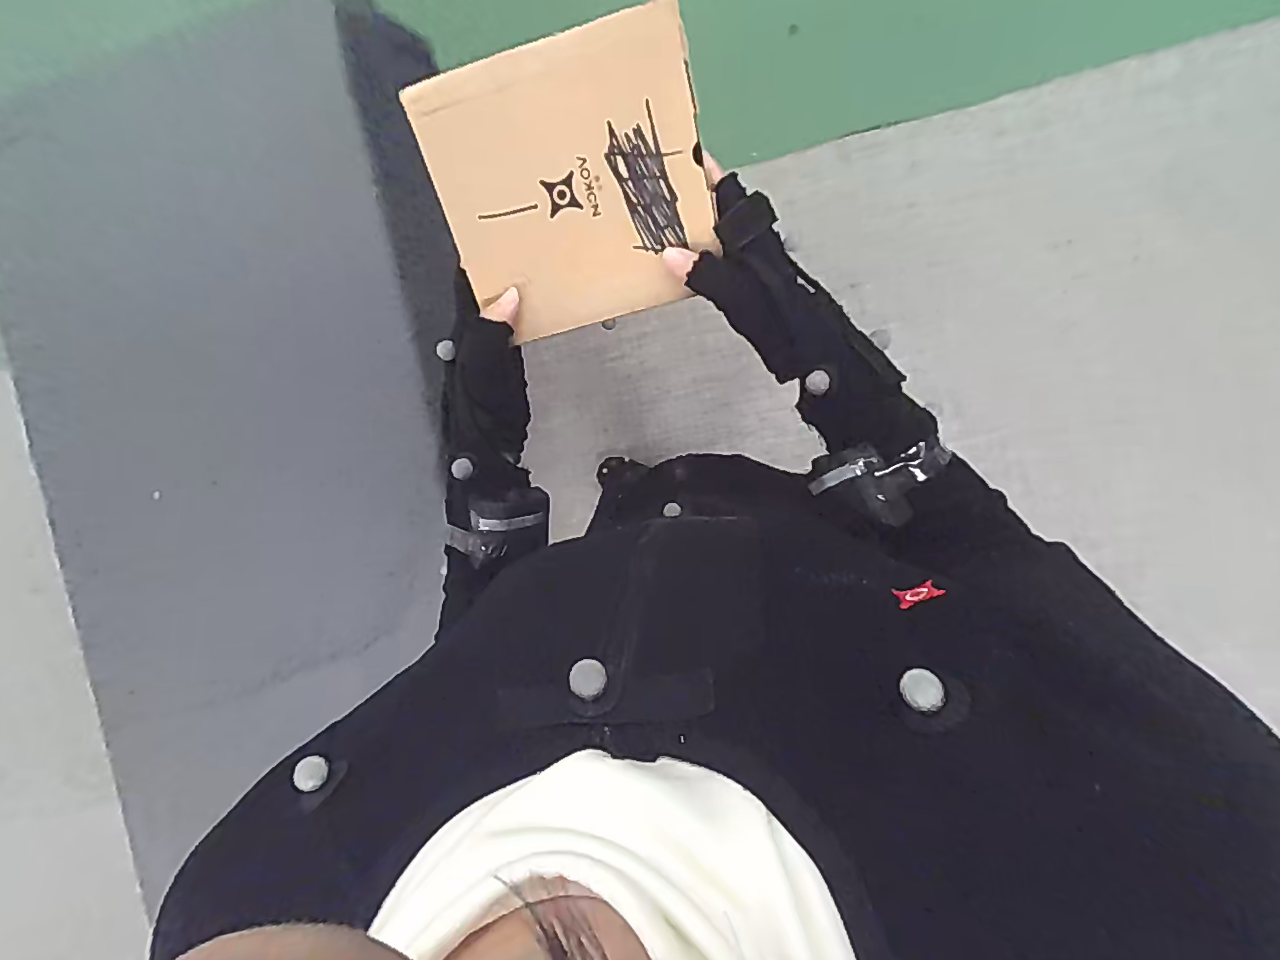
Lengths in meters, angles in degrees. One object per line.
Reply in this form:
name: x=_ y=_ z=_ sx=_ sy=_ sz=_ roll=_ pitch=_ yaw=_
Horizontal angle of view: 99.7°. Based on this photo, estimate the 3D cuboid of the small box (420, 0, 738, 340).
small box: x=-0.033 y=-0.224 z=0.424 sx=0.179 sy=0.176 sz=0.168 roll=-12 pitch=113 yaw=7
